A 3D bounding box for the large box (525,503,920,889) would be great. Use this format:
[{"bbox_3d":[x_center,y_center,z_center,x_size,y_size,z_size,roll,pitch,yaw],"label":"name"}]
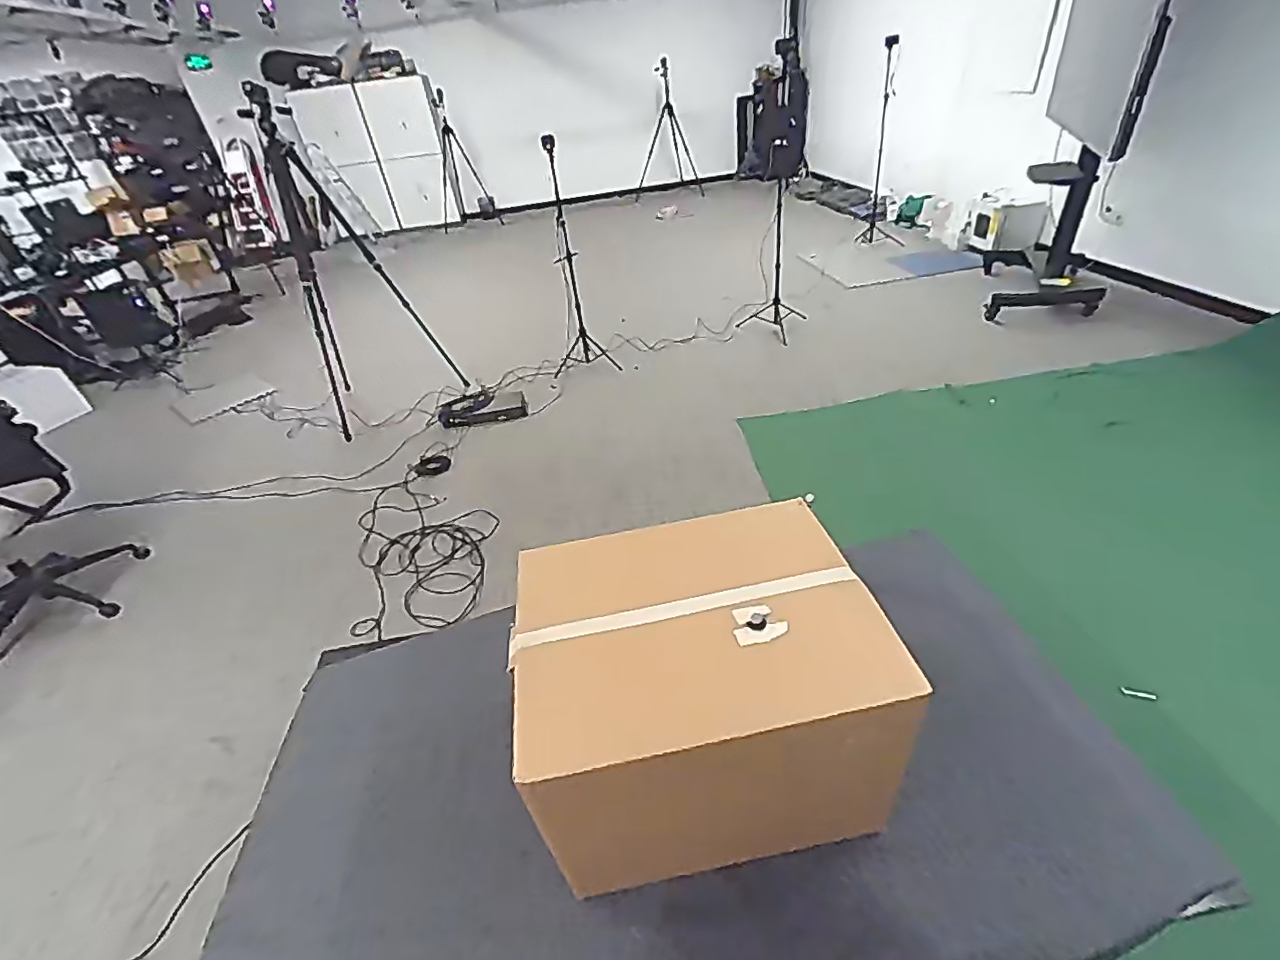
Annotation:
[{"bbox_3d":[0.076,0.275,0.726,0.408,0.320,0.320,-10,37,-4],"label":"large box"}]
